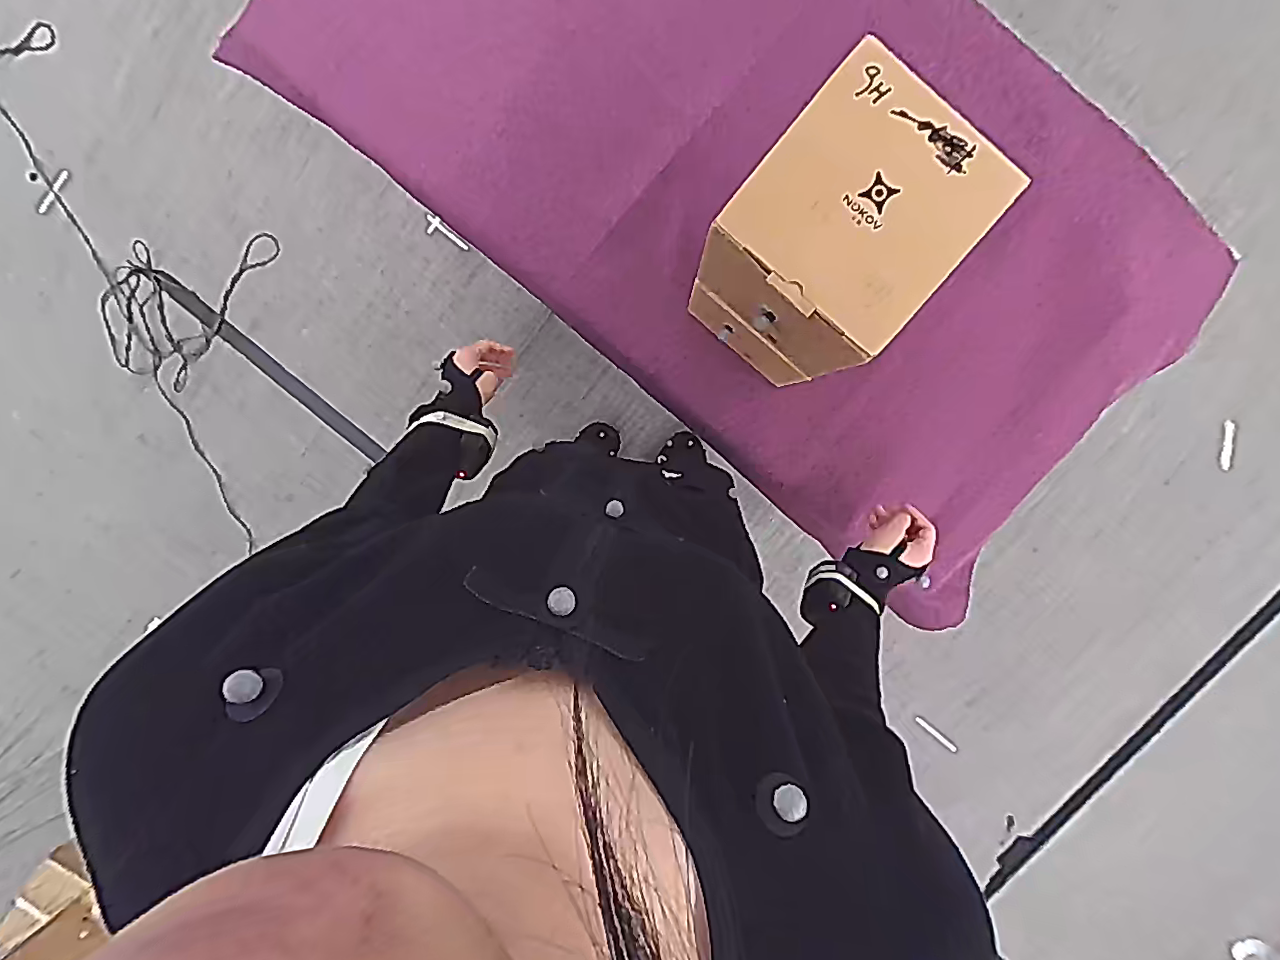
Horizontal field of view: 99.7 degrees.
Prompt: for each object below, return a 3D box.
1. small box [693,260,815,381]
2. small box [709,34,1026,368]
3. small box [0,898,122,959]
[{"bbox_3d":[0.179,-0.236,0.651,0.168,0.176,0.179,40,96,-3],"label":"small box"},{"bbox_3d":[0.176,-0.220,0.488,0.168,0.176,0.179,41,97,-3],"label":"small box"},{"bbox_3d":[-1.436,1.188,1.315,0.168,0.176,0.179,36,96,-3],"label":"small box"}]
